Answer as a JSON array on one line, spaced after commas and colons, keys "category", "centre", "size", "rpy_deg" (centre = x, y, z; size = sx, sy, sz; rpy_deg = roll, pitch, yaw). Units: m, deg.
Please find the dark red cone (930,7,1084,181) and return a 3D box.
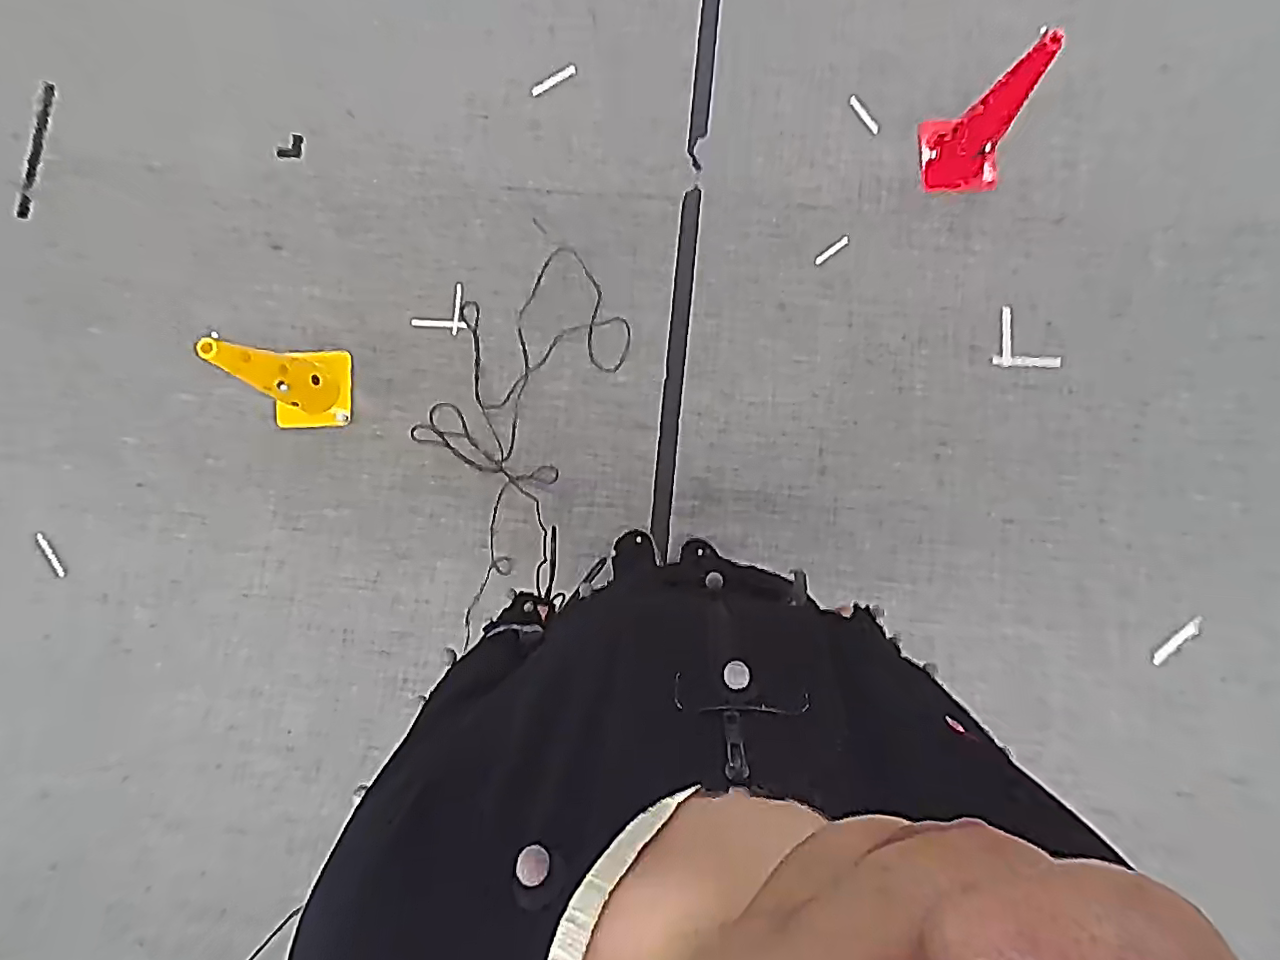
[{"category": "dark red cone", "centre": [0.849, -0.887, 1.236], "size": [0.201, 0.394, 0.202], "rpy_deg": [-3, 86, 2]}]
